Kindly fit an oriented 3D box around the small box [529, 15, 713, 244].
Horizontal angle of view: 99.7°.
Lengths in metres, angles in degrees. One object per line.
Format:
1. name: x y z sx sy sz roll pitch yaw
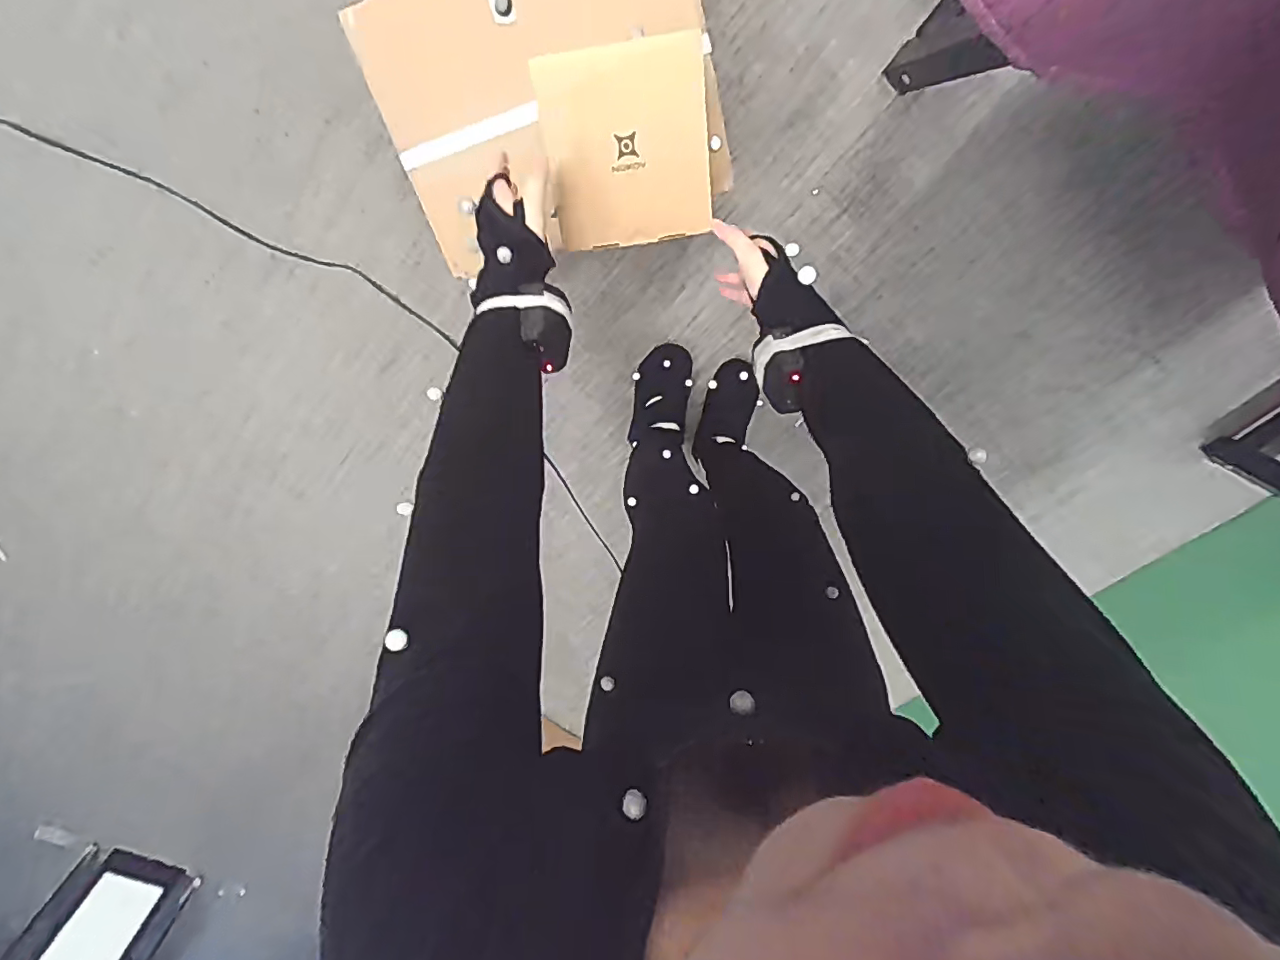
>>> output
1. small box: -0.014 -0.384 0.603 0.168 0.176 0.179 -7 126 4
